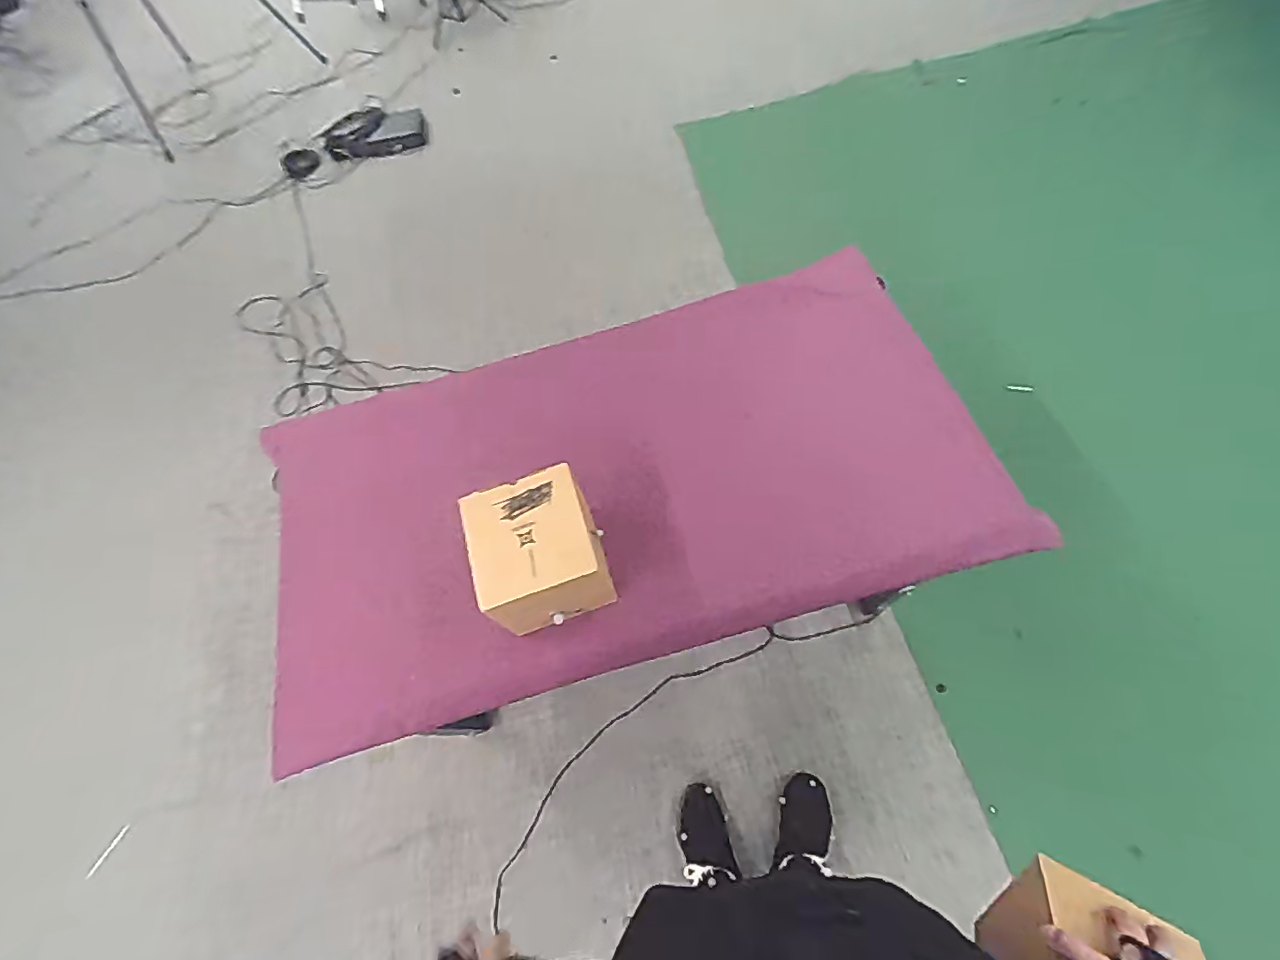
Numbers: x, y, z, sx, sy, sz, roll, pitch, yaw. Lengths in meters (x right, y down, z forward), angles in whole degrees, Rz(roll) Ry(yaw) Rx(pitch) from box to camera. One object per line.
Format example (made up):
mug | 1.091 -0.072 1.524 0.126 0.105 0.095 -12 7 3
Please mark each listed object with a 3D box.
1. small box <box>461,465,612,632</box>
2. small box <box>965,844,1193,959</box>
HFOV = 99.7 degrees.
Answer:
small box | -0.151 0.109 0.818 0.168 0.176 0.179 -19 64 -2
small box | 0.494 0.582 0.613 0.168 0.176 0.179 24 28 19
